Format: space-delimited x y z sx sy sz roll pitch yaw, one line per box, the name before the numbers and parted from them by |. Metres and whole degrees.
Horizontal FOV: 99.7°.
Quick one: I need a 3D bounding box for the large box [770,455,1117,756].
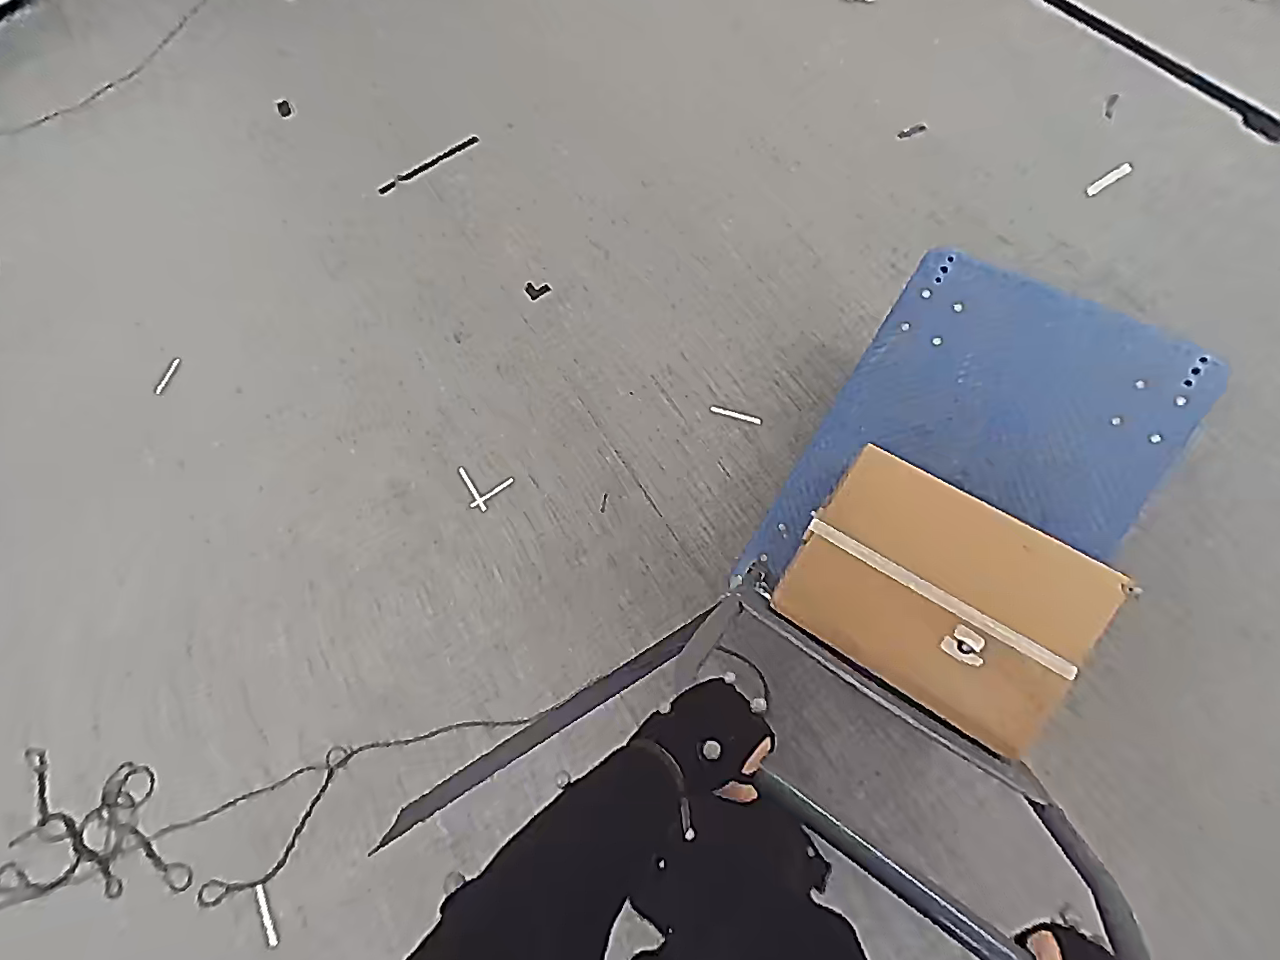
large box | 0.488 0.196 0.982 0.408 0.320 0.320 31 94 16
